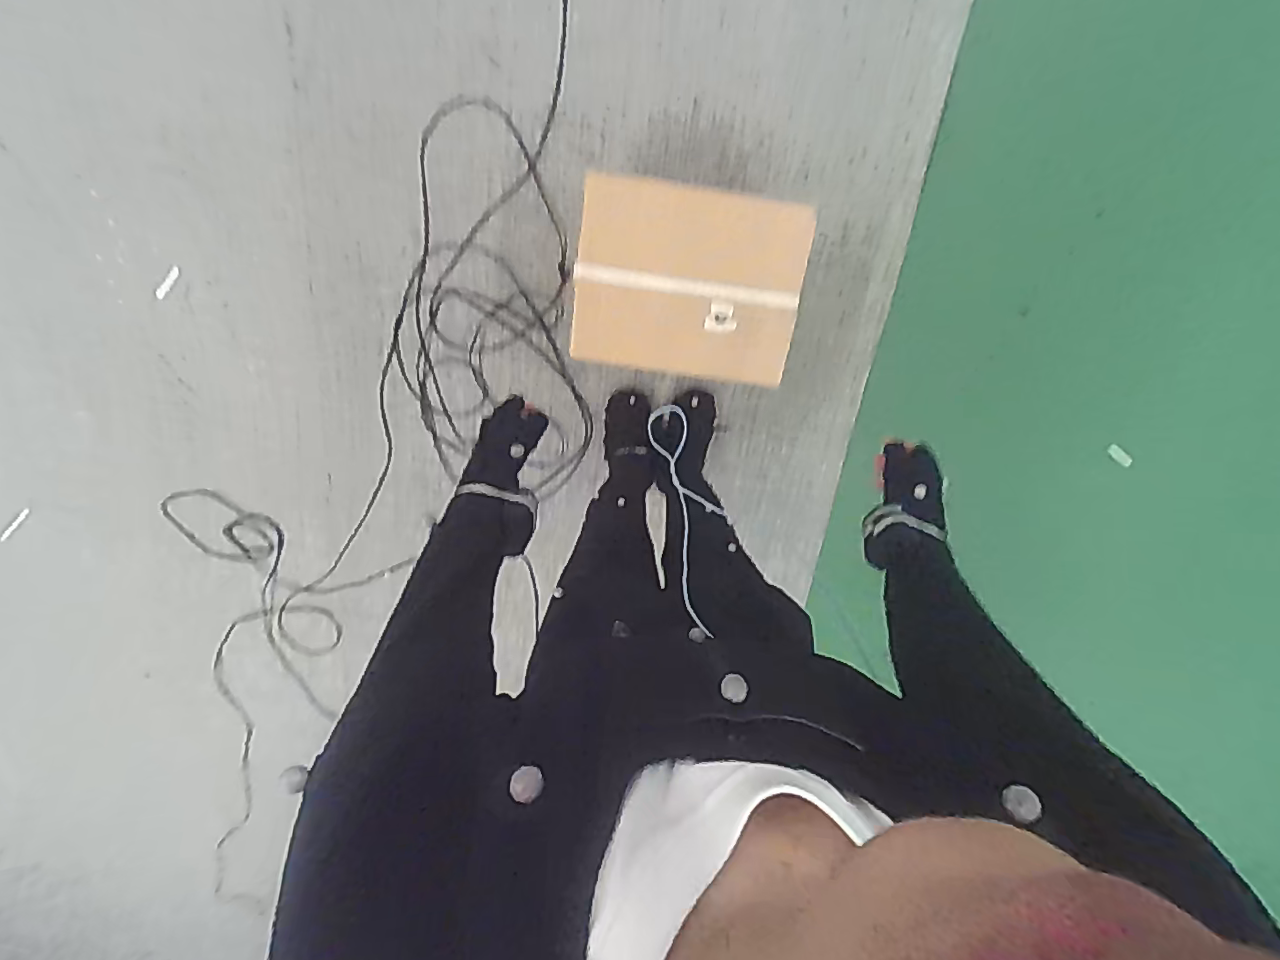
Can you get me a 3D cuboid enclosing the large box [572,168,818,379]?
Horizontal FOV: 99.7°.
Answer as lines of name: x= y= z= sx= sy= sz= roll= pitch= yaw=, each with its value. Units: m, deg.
large box: x=0.085 y=-0.406 z=1.098 sx=0.408 sy=0.320 sz=0.320 roll=7 pitch=111 yaw=-3
